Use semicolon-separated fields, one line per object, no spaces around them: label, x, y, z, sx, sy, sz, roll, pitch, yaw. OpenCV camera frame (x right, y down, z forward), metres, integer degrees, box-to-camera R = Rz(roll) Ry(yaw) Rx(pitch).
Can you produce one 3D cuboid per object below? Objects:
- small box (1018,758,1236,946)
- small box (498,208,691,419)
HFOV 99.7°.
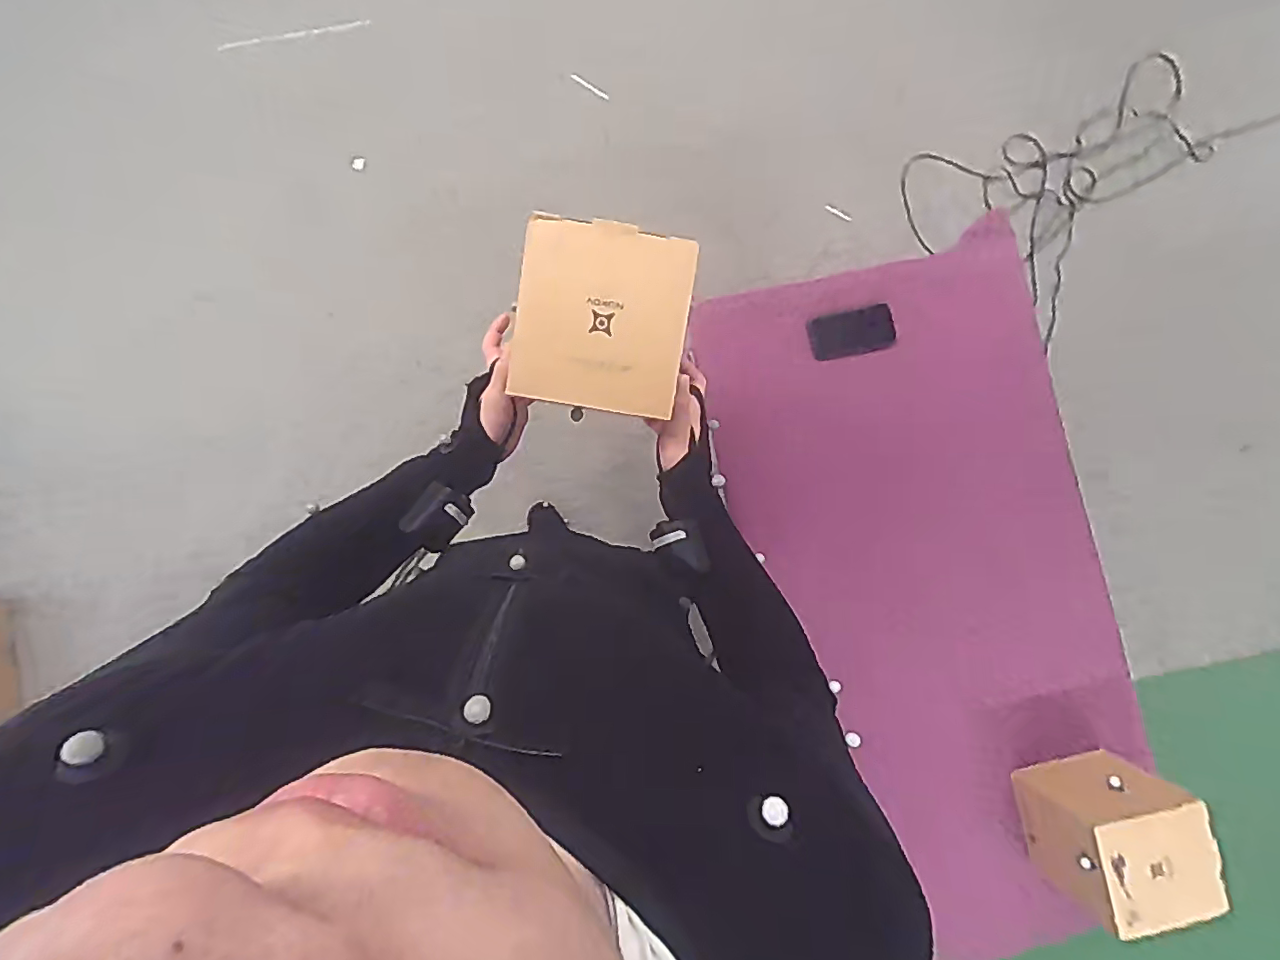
small box;0.750;0.567;0.851;0.179;0.176;0.168;-11;87;-3
small box;-0.048;-0.166;0.596;0.168;0.176;0.179;8;97;-3
